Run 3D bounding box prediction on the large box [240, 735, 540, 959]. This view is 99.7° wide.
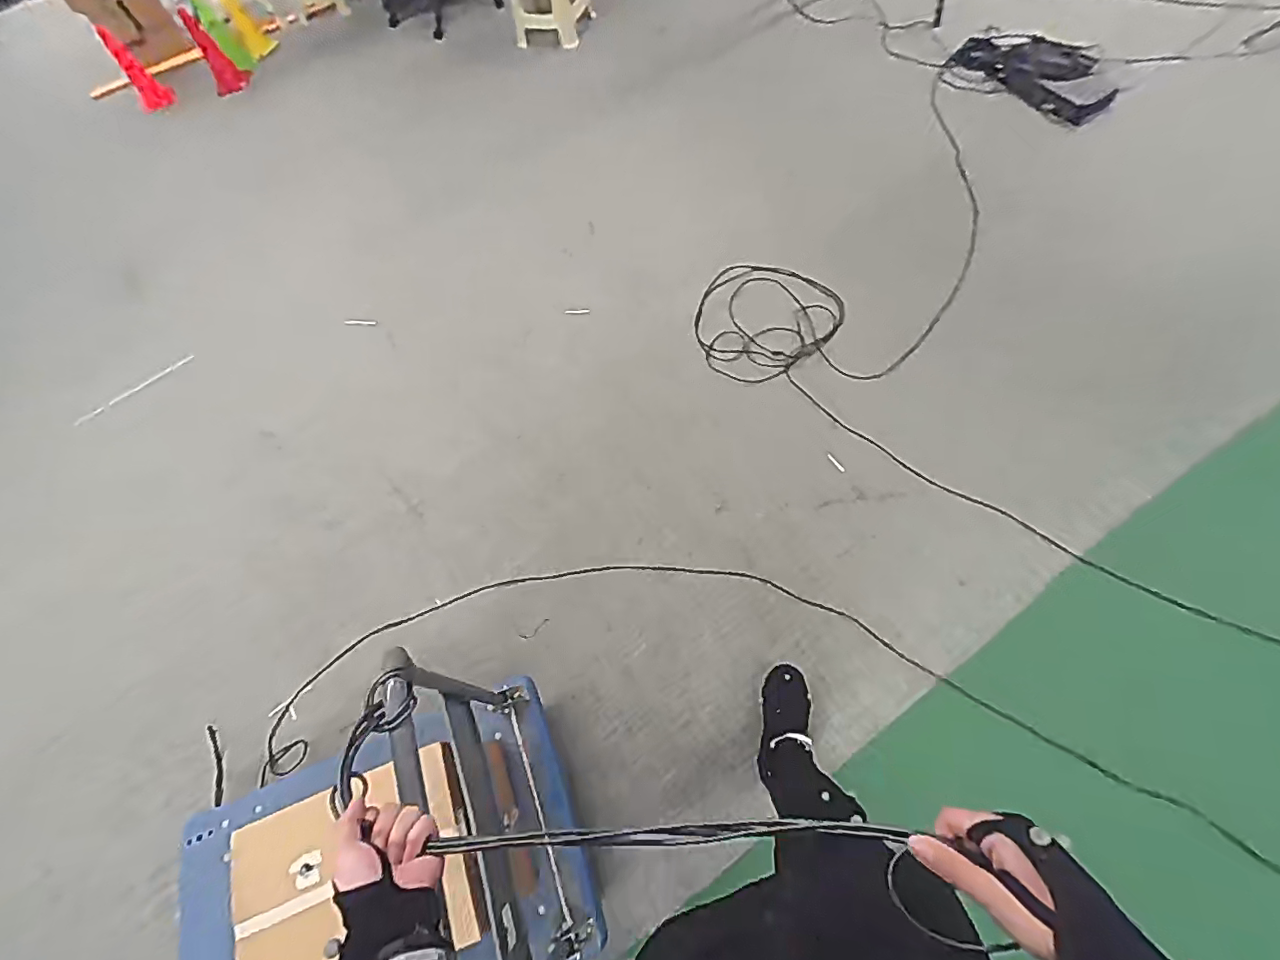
[{"bbox_3d":[-0.463,0.737,1.054,0.408,0.320,0.320,-23,64,-3],"label":"large box"}]
